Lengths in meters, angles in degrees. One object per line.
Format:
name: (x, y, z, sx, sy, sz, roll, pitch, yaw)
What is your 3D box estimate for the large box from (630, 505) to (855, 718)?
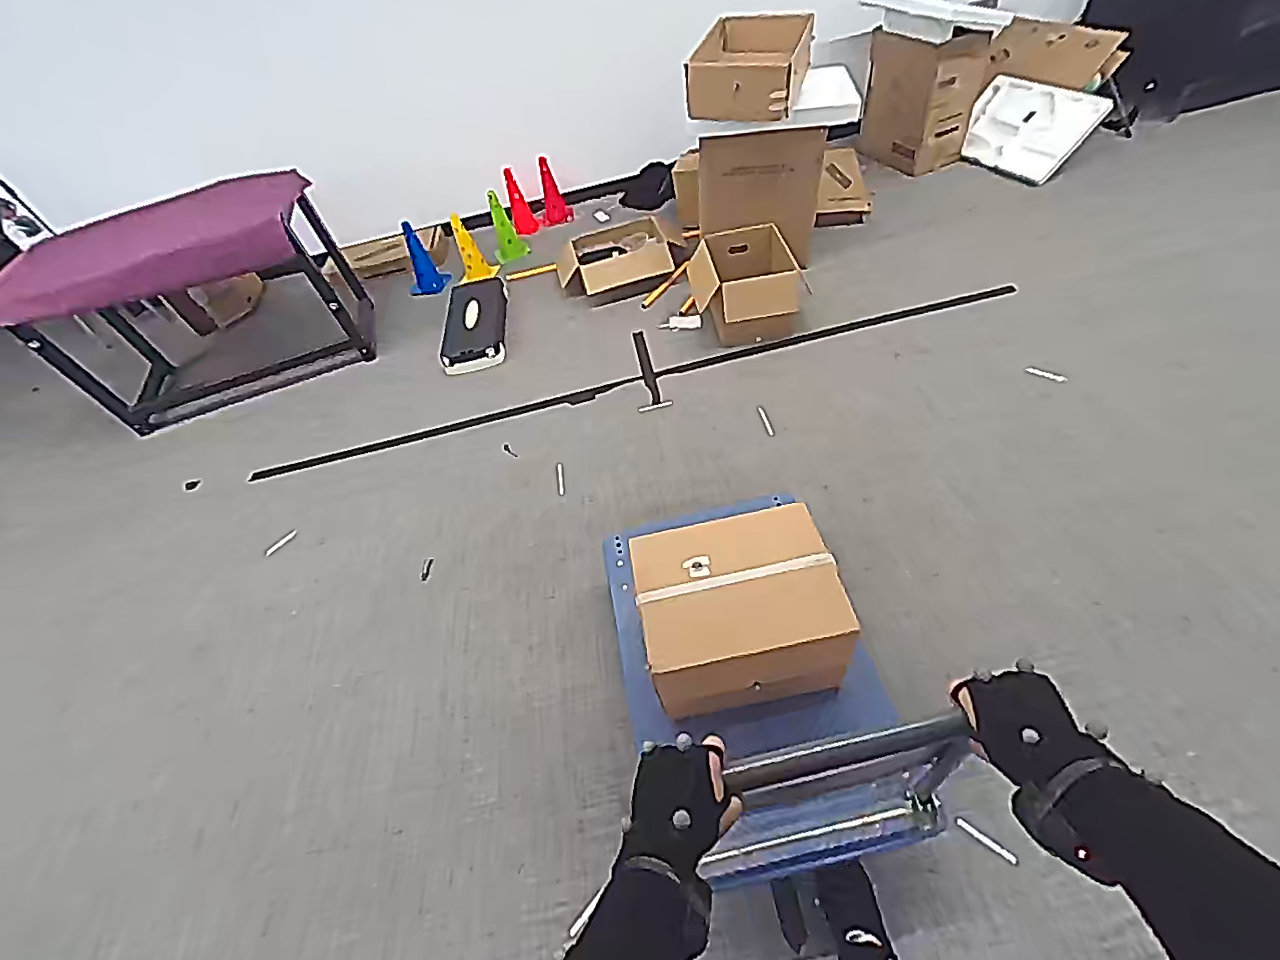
large box: (0.219, 0.307, 1.238, 0.408, 0.320, 0.320, -13, 49, 1)
